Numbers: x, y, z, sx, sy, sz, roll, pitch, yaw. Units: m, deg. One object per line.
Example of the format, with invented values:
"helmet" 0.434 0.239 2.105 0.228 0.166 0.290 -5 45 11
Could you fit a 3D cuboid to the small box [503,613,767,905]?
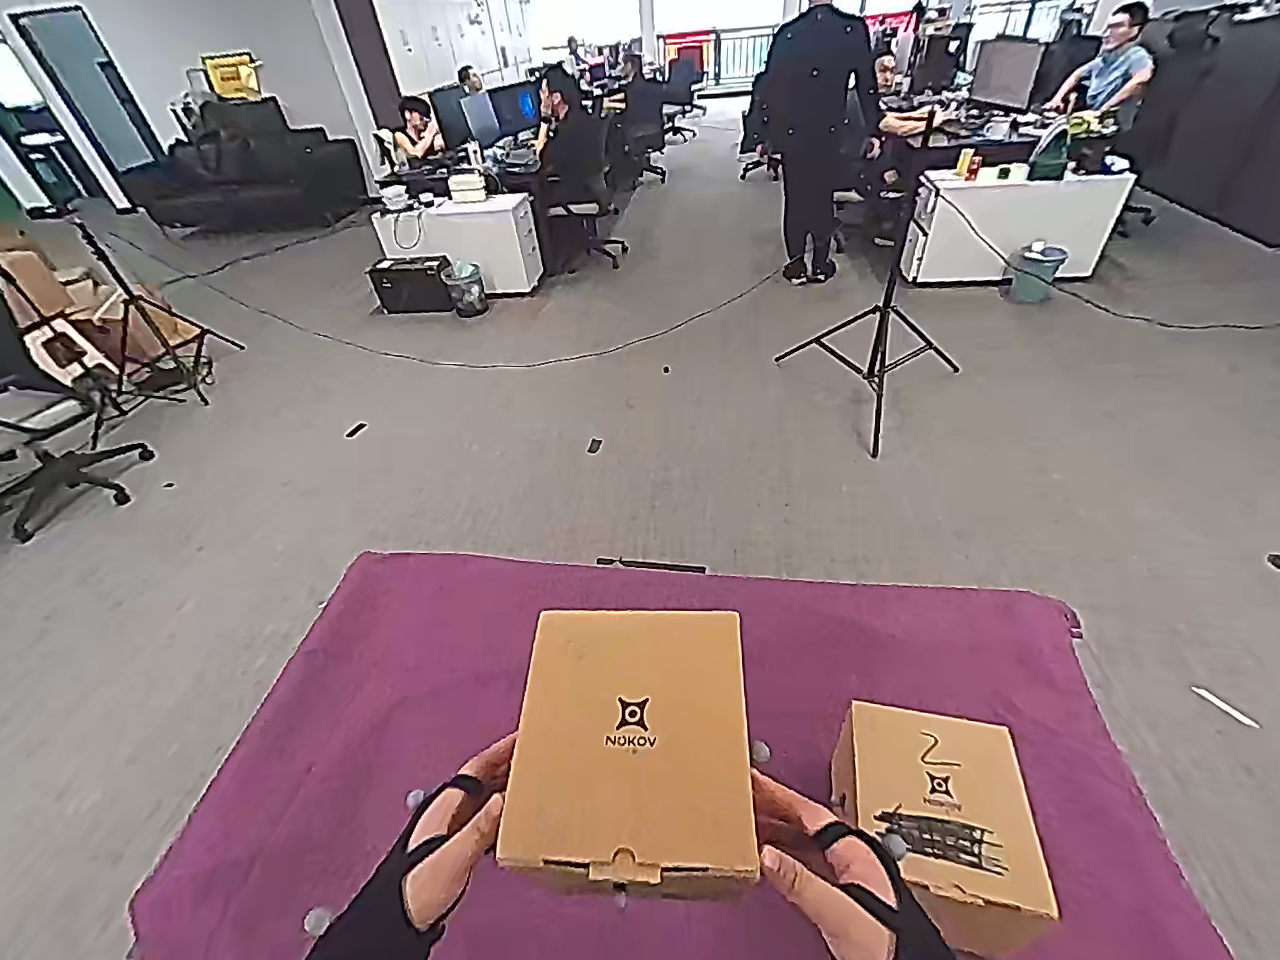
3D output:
"small box" 0.004 0.227 0.443 0.168 0.176 0.179 -2 48 5
